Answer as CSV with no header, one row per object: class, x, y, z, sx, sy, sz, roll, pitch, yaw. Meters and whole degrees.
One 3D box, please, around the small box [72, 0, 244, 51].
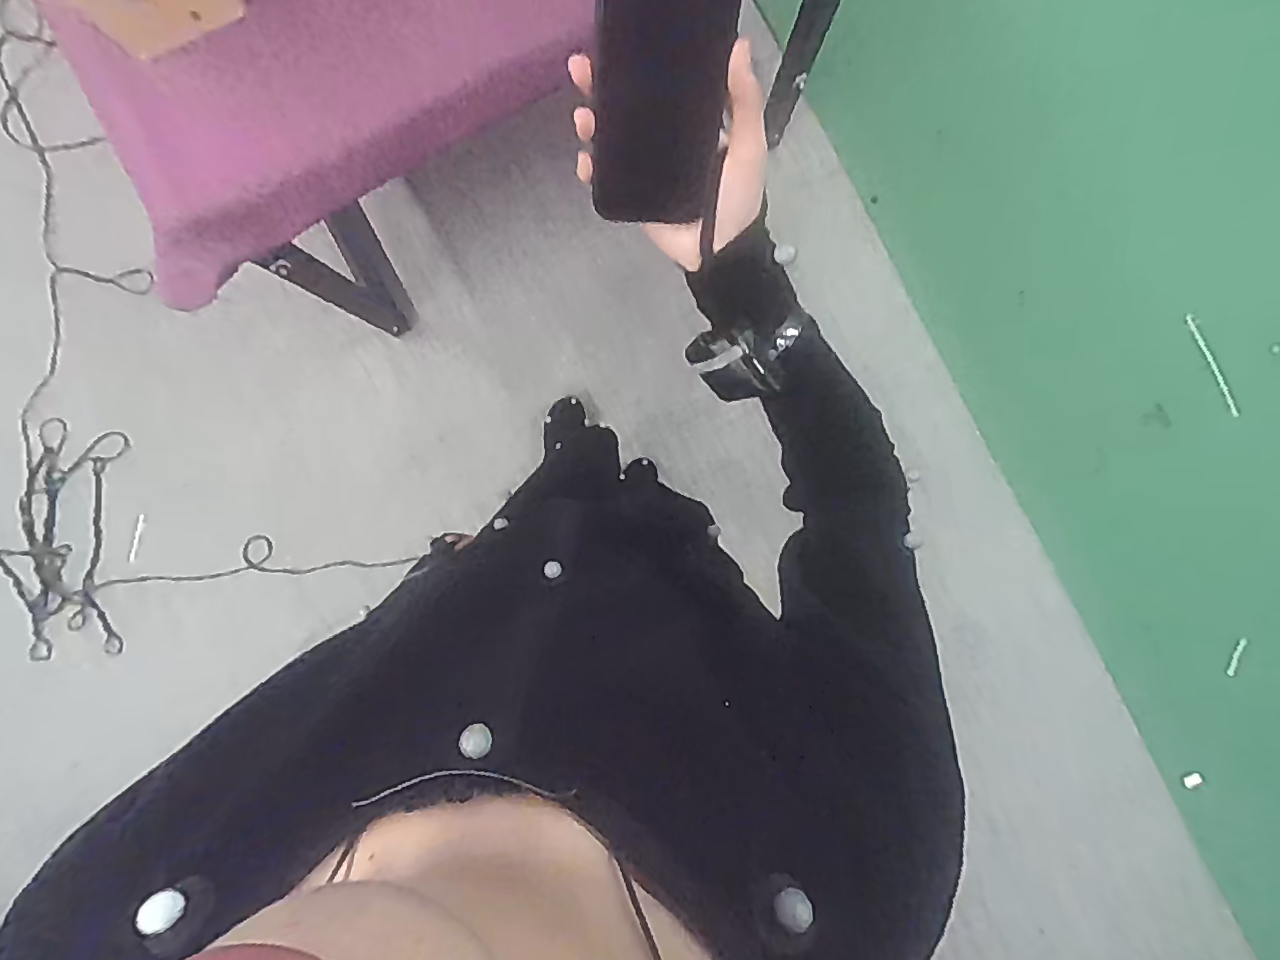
small box,-0.652,-0.692,0.677,0.168,0.176,0.179,-25,91,1
